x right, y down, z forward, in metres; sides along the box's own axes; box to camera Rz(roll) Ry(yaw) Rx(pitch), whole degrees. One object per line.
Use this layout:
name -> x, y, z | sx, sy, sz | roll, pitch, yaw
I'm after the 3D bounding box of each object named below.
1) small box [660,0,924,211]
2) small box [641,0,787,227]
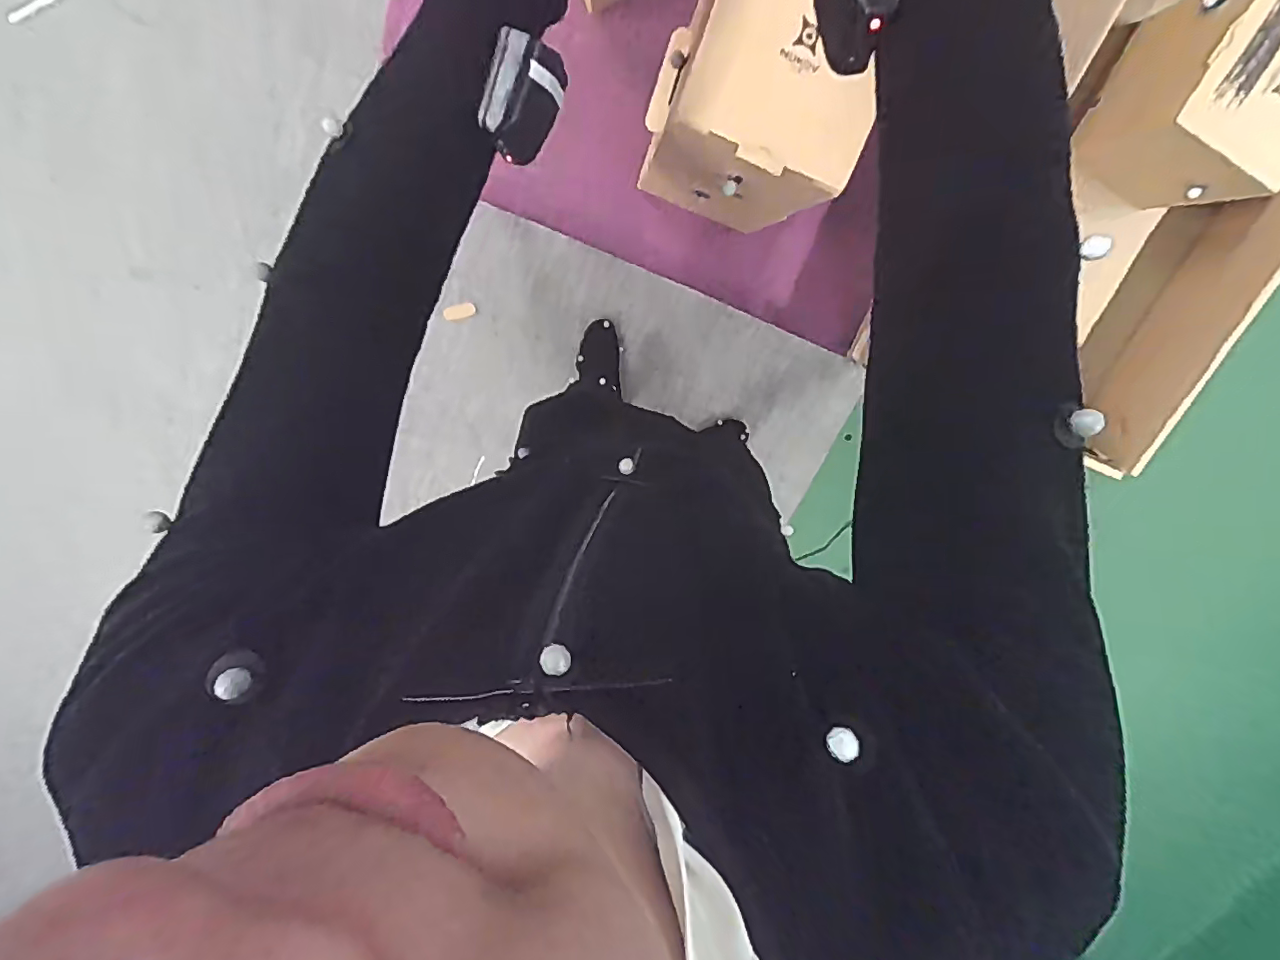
small box -> 0.126, -0.385, 0.526 | 0.168, 0.176, 0.179 | 18, 107, -12
small box -> 0.109, -0.435, 0.681 | 0.179, 0.176, 0.168 | 16, 107, -12
